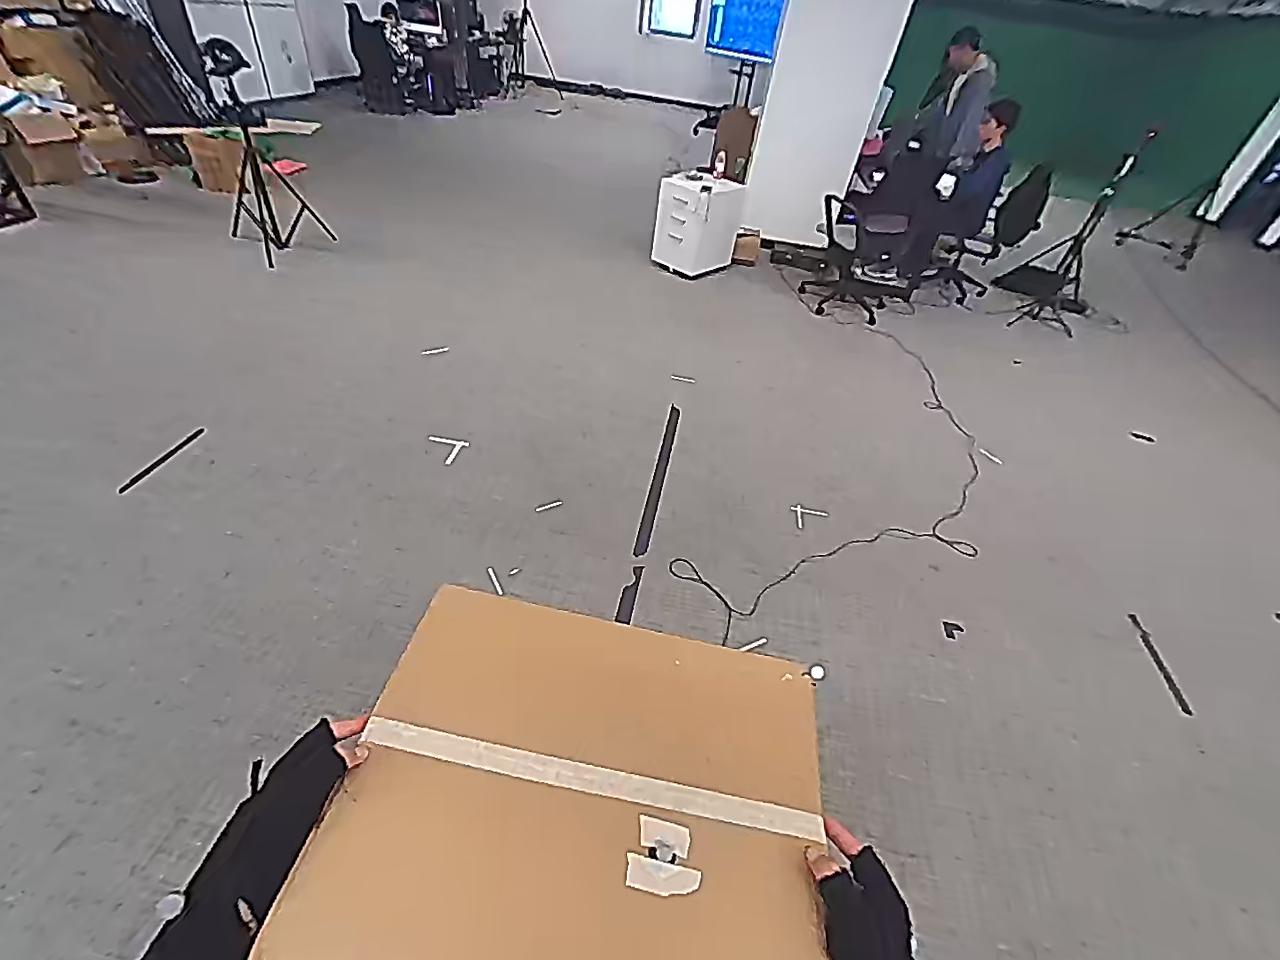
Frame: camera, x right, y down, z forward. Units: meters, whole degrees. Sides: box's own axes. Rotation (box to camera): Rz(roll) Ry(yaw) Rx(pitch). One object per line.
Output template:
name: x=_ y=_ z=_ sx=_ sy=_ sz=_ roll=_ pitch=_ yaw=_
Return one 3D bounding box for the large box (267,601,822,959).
large box: x=-0.066 y=0.377 z=0.574 sx=0.408 sy=0.320 sz=0.320 roll=13 pitch=44 yaw=0
